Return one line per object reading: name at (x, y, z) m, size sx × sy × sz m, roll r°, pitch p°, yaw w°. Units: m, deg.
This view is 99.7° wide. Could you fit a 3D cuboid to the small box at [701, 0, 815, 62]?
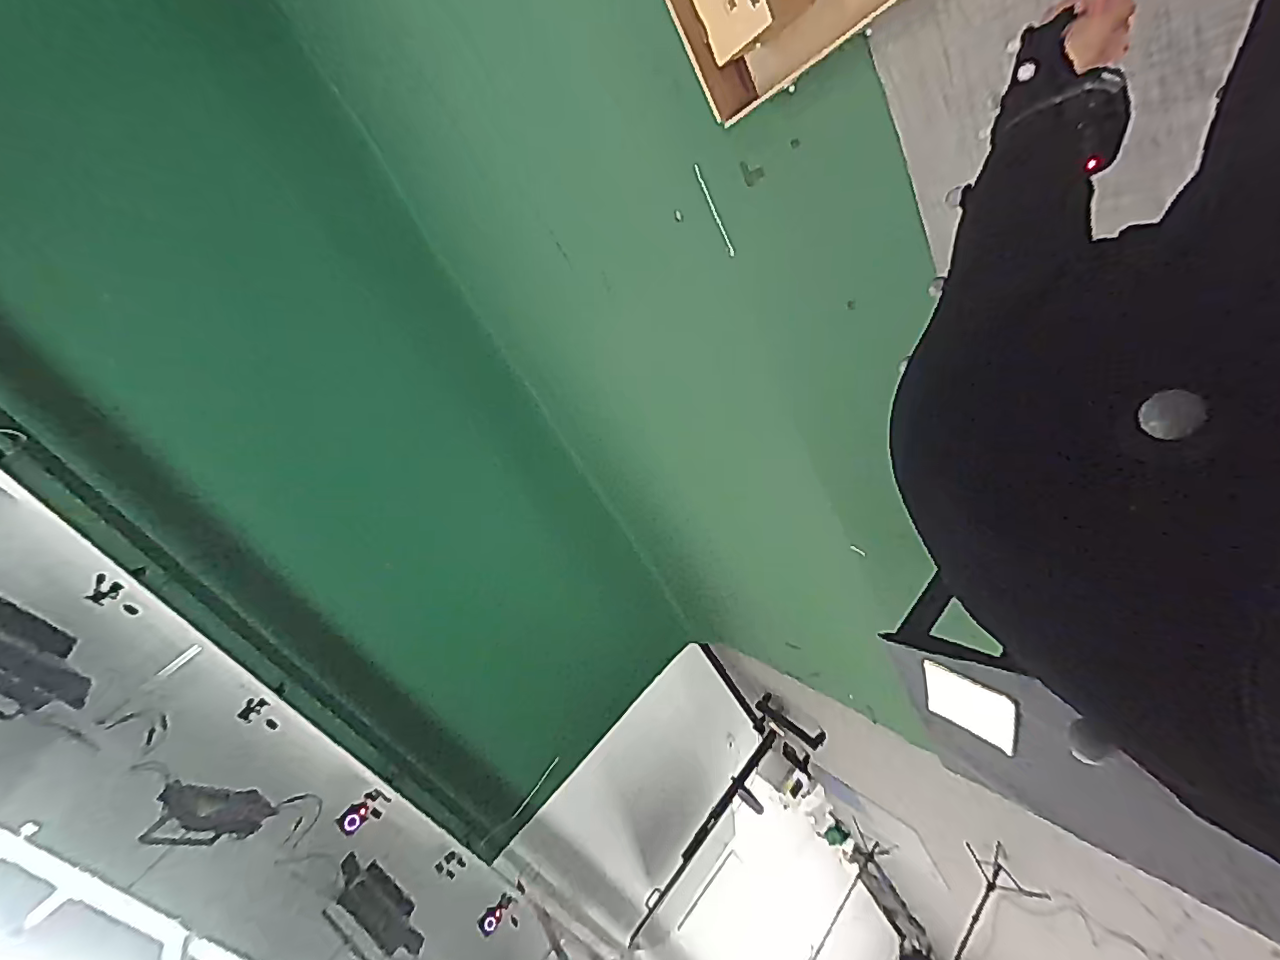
small box at (0.267, -1.101, 1.220) m, size 0.179 × 0.176 × 0.168 m, roll 8°, pitch 134°, yaw 57°
